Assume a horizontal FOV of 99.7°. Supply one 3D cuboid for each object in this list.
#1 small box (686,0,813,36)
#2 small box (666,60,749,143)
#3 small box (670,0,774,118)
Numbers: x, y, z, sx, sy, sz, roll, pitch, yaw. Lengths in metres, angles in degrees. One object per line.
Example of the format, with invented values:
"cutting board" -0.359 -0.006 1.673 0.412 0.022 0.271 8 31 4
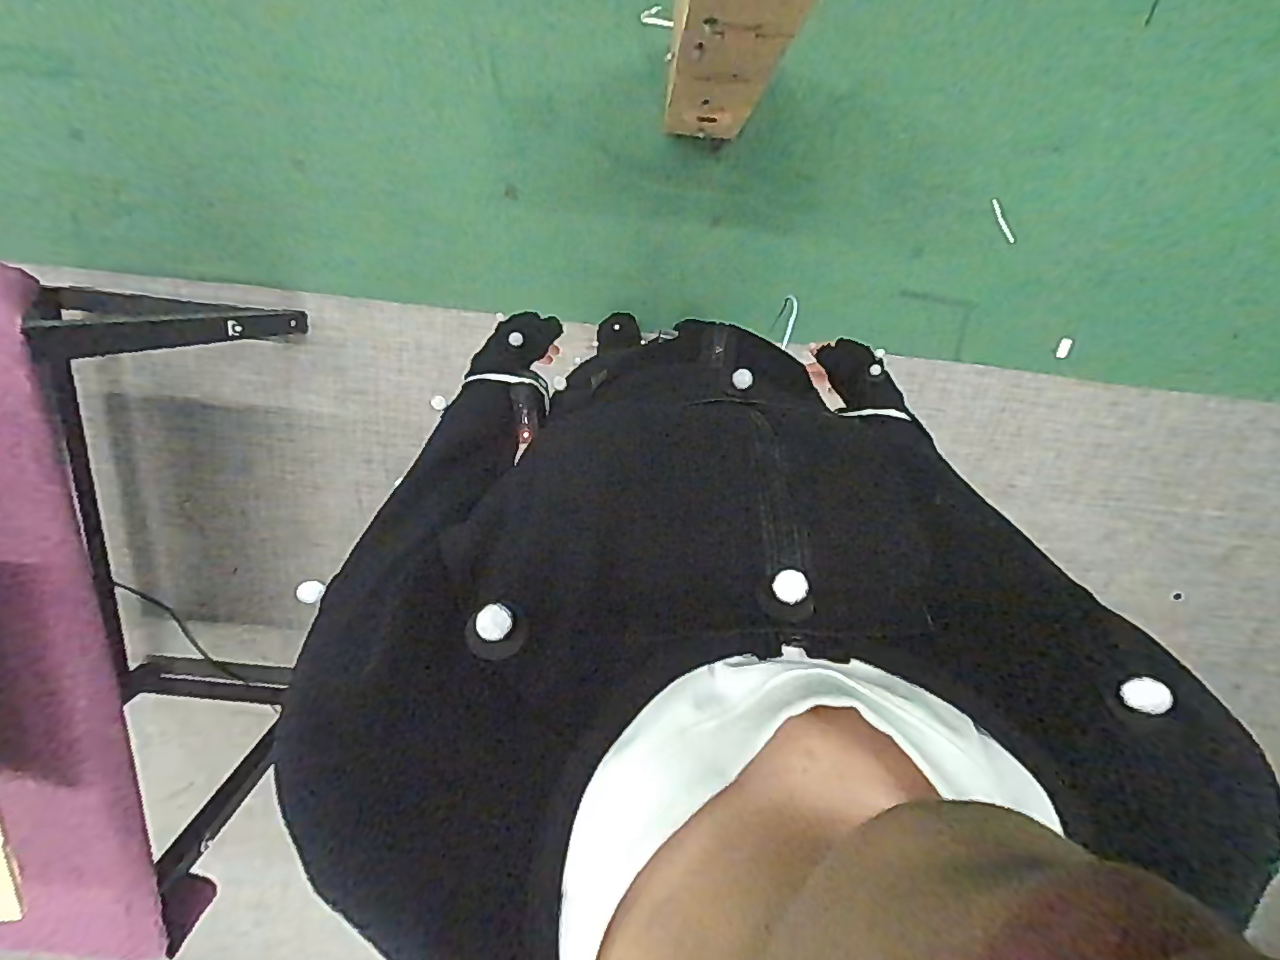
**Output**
"small box" 0.150 -0.701 0.681 0.168 0.176 0.179 2 107 -2
"small box" 0.147 -0.847 1.151 0.168 0.176 0.179 5 108 -2
"small box" 0.147 -0.798 0.996 0.168 0.176 0.179 2 109 -2
